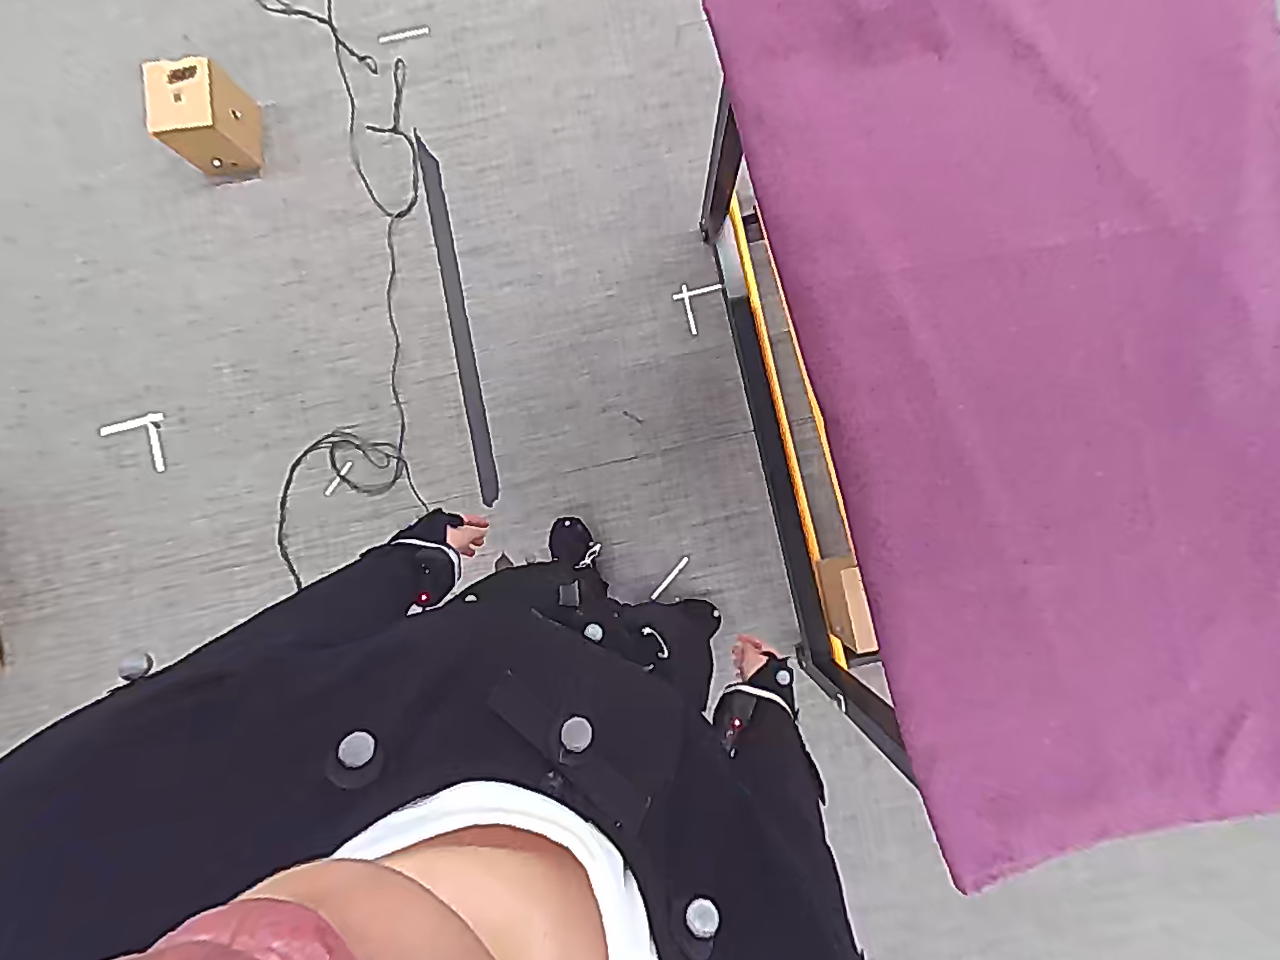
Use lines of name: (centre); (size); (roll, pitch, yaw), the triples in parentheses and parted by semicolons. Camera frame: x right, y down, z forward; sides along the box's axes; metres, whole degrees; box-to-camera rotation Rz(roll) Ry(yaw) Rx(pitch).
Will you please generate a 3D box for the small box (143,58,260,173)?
small box: (-1.109, -0.921, 1.378); (0.168, 0.176, 0.179); (-5, 88, 2)
